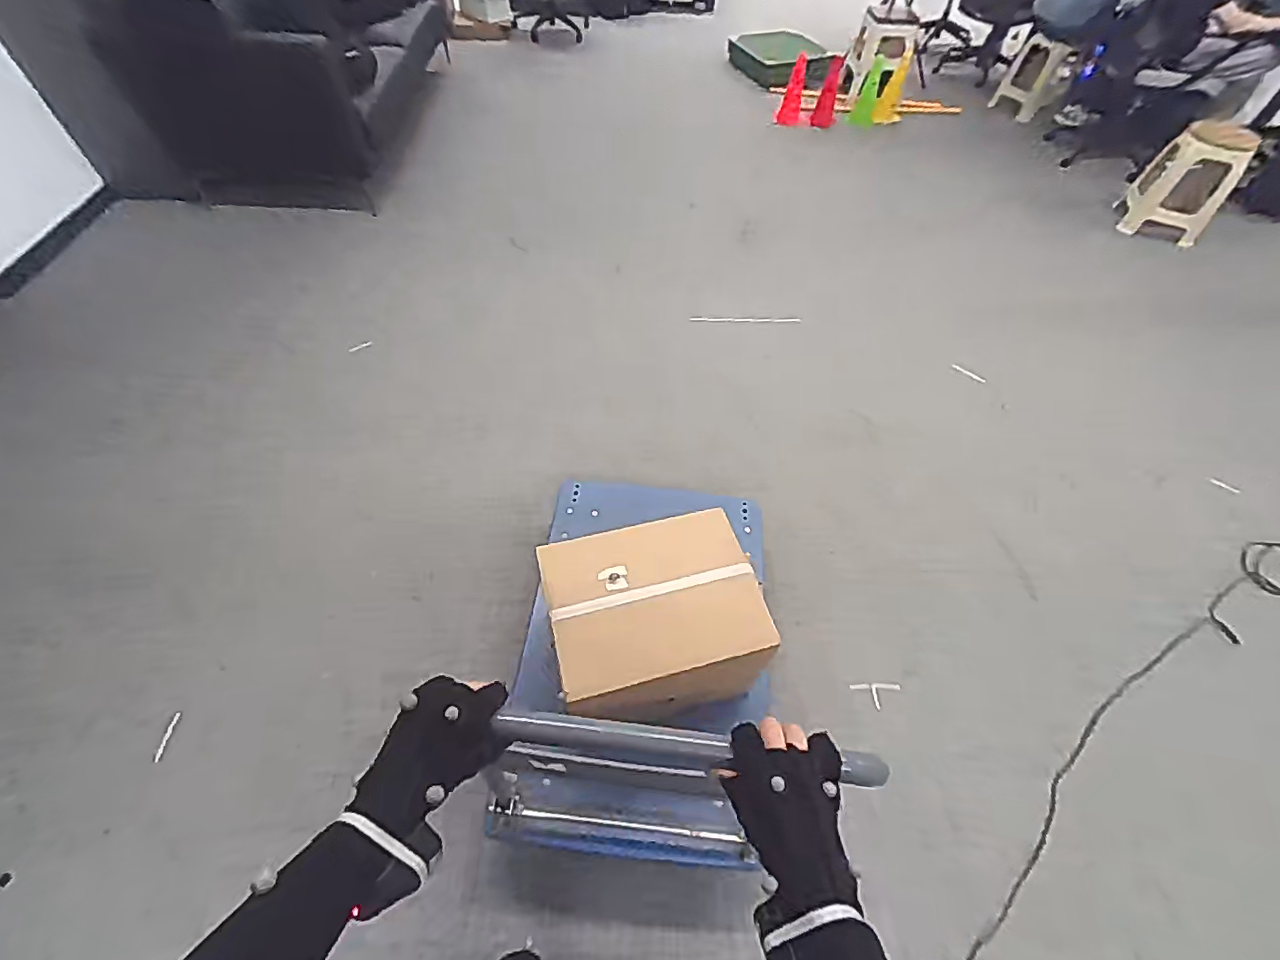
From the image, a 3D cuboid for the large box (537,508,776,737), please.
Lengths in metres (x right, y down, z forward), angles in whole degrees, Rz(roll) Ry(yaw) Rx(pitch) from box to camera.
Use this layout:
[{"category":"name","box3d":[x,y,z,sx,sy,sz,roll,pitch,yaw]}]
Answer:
[{"category":"large box","box3d":[0.021,0.310,1.168,0.408,0.320,0.320,-13,53,-11]}]
